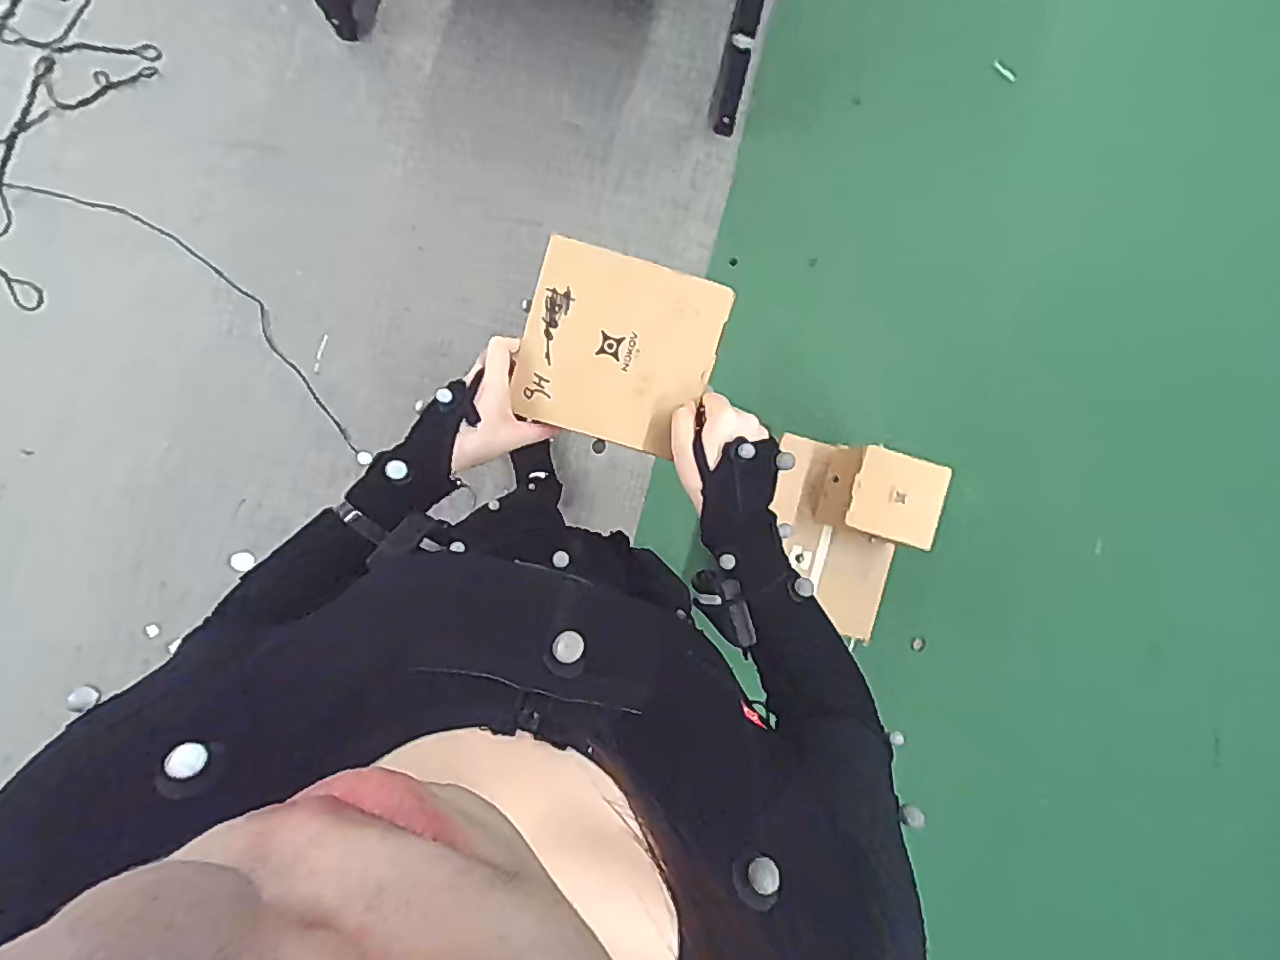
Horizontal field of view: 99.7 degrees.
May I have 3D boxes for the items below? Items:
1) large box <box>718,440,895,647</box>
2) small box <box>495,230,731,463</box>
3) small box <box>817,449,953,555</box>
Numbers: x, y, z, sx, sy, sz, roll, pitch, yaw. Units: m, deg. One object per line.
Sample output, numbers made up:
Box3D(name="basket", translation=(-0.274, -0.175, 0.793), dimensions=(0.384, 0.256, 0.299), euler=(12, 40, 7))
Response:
Box3D(name="large box", translation=(0.412, 0.141, 1.347), dimensions=(0.320, 0.320, 0.408), euler=(17, 88, 1))
Box3D(name="small box", translation=(-0.027, -0.123, 0.559), dimensions=(0.179, 0.176, 0.168), euler=(16, 93, -3))
Box3D(name="small box", translation=(0.492, 0.043, 1.108), dimensions=(0.179, 0.176, 0.168), euler=(17, 88, 0))
